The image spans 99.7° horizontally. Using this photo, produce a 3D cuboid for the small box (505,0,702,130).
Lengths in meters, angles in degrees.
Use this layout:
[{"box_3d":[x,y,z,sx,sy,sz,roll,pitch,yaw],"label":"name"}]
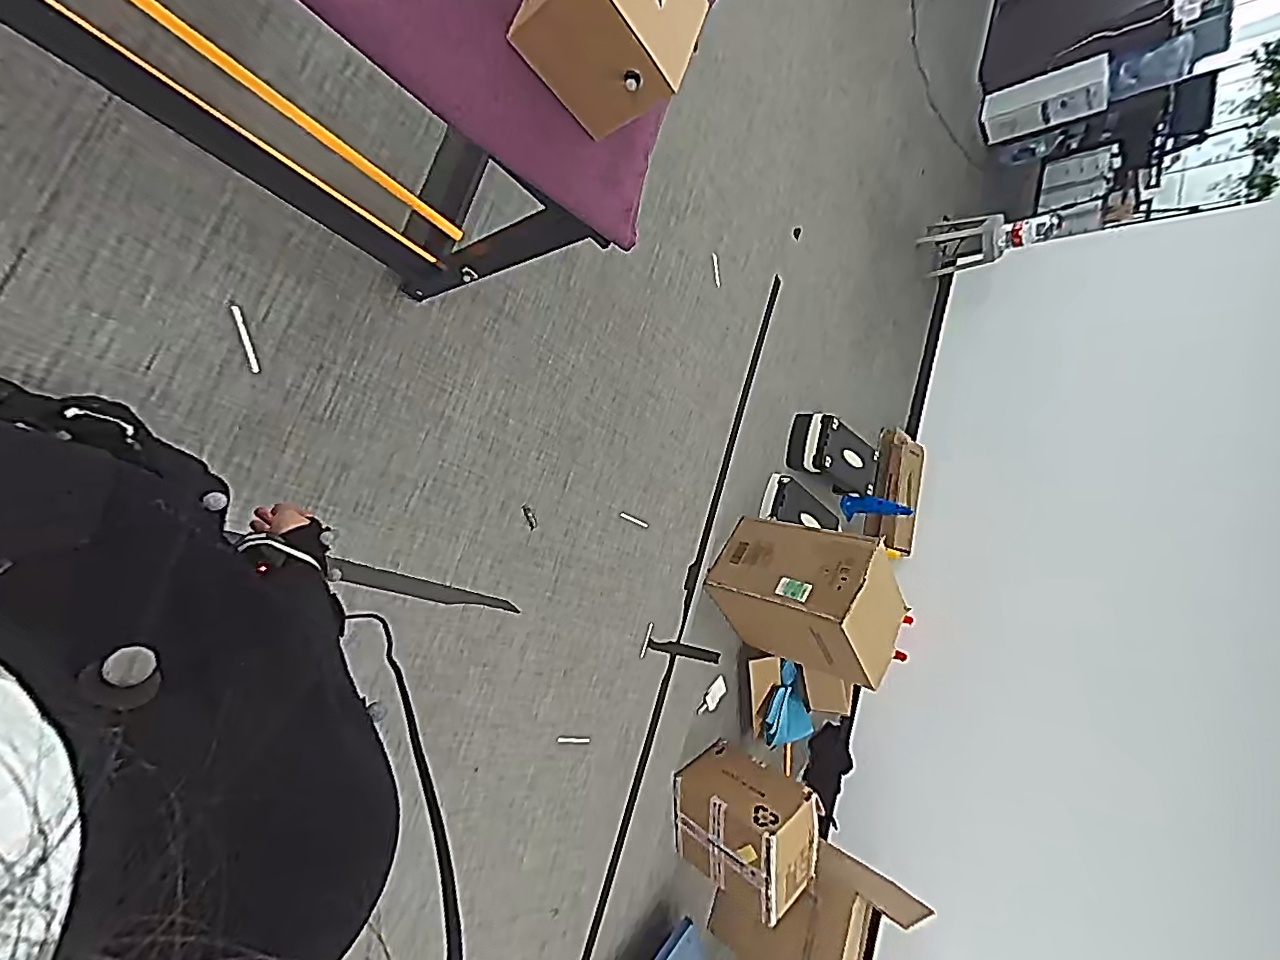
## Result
[{"box_3d":[-0.049,-0.622,0.740,0.179,0.176,0.168,31,72,-43],"label":"small box"}]
